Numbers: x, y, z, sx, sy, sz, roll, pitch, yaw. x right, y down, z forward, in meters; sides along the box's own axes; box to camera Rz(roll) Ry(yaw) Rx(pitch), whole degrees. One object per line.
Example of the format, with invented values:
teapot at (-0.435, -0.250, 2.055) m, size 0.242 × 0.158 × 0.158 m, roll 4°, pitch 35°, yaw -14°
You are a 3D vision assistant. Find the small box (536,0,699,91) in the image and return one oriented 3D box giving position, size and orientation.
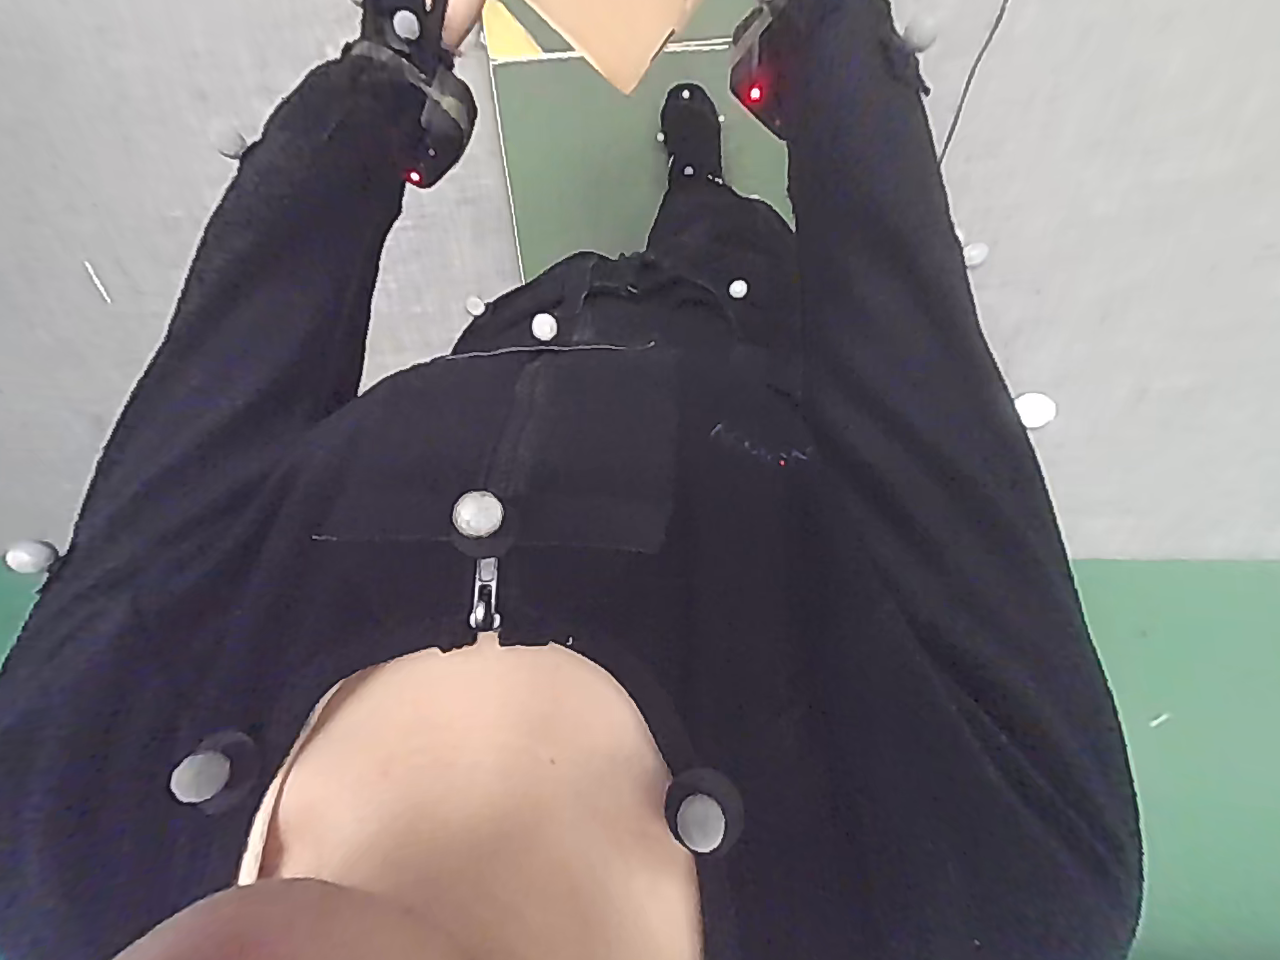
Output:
small box at (-0.020, -0.466, 0.422) m, size 0.179 × 0.176 × 0.168 m, roll 28°, pitch 133°, yaw -29°
